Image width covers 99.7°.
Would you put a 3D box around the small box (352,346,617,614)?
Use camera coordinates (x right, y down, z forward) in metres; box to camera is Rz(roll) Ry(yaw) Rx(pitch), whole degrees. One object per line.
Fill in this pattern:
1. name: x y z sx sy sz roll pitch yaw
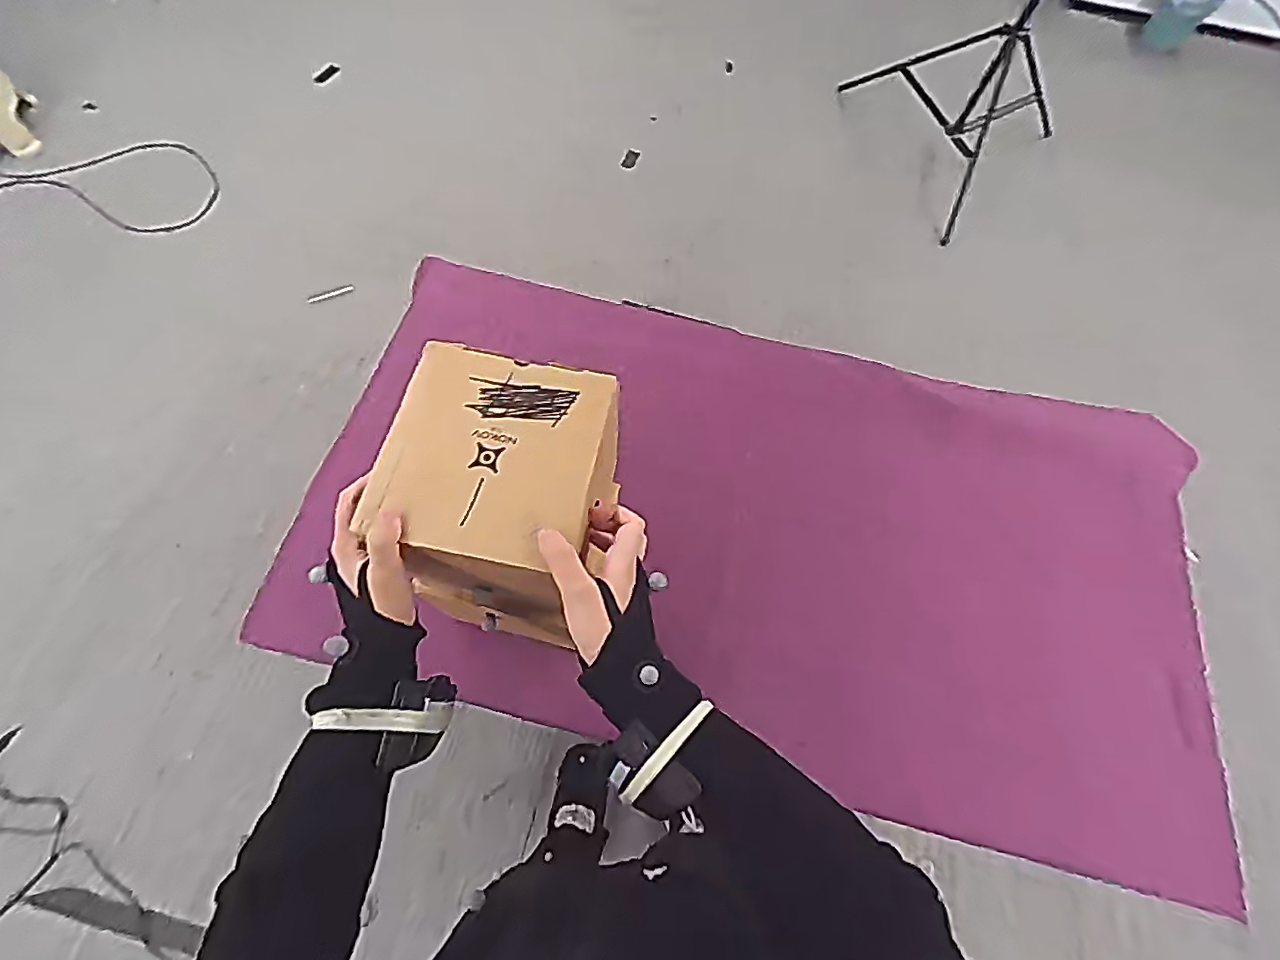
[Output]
1. small box: -0.121 0.010 0.497 0.168 0.176 0.179 11 67 2

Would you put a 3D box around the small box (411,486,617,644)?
1. small box: -0.132 0.089 0.642 0.179 0.176 0.168 14 67 3
